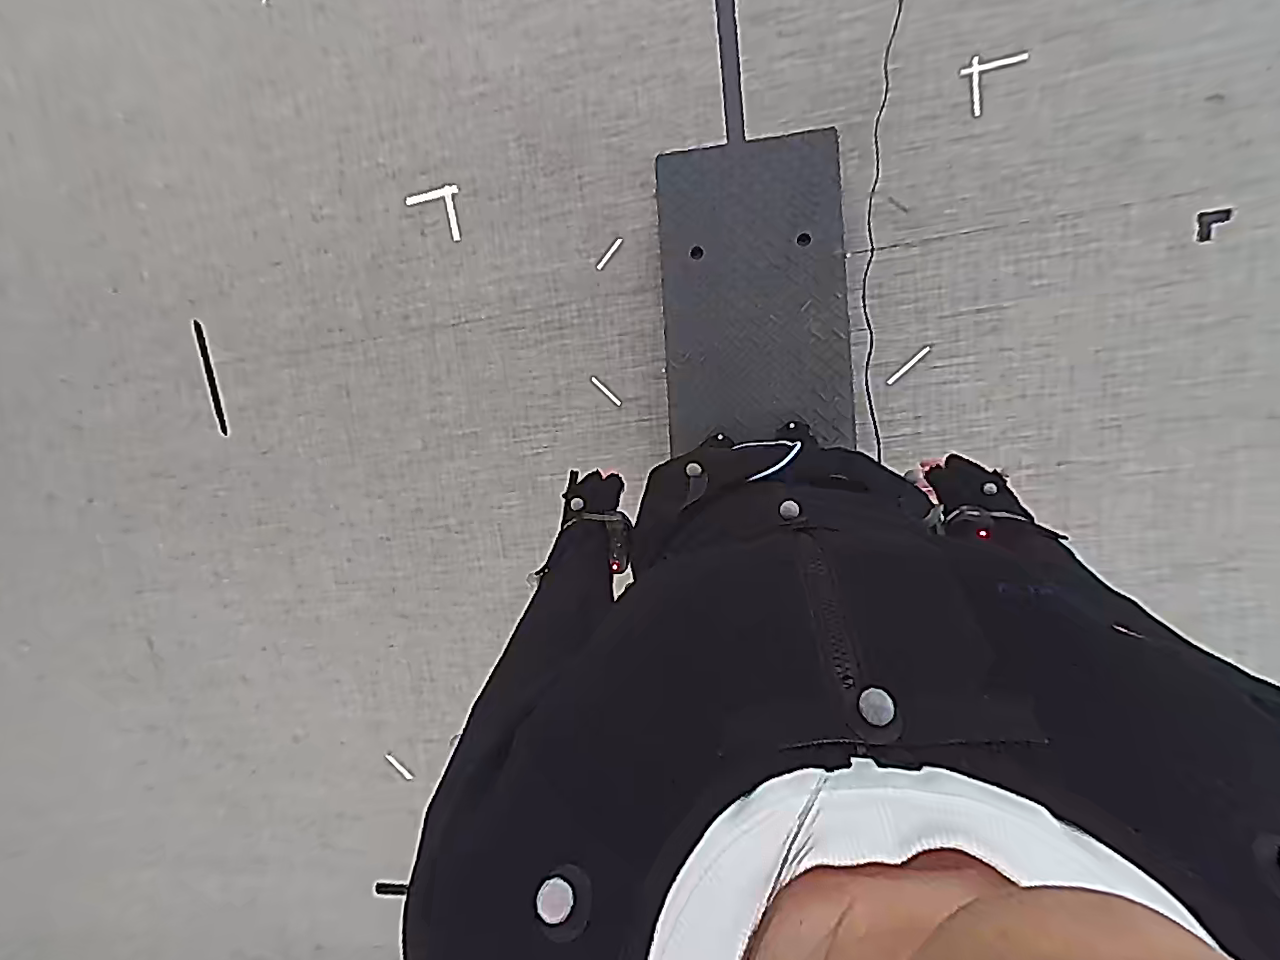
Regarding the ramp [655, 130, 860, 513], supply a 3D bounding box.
[{"bbox_3d":[0.302,-0.418,1.462,0.509,0.206,0.991,-5,98,11],"label":"ramp"}]
